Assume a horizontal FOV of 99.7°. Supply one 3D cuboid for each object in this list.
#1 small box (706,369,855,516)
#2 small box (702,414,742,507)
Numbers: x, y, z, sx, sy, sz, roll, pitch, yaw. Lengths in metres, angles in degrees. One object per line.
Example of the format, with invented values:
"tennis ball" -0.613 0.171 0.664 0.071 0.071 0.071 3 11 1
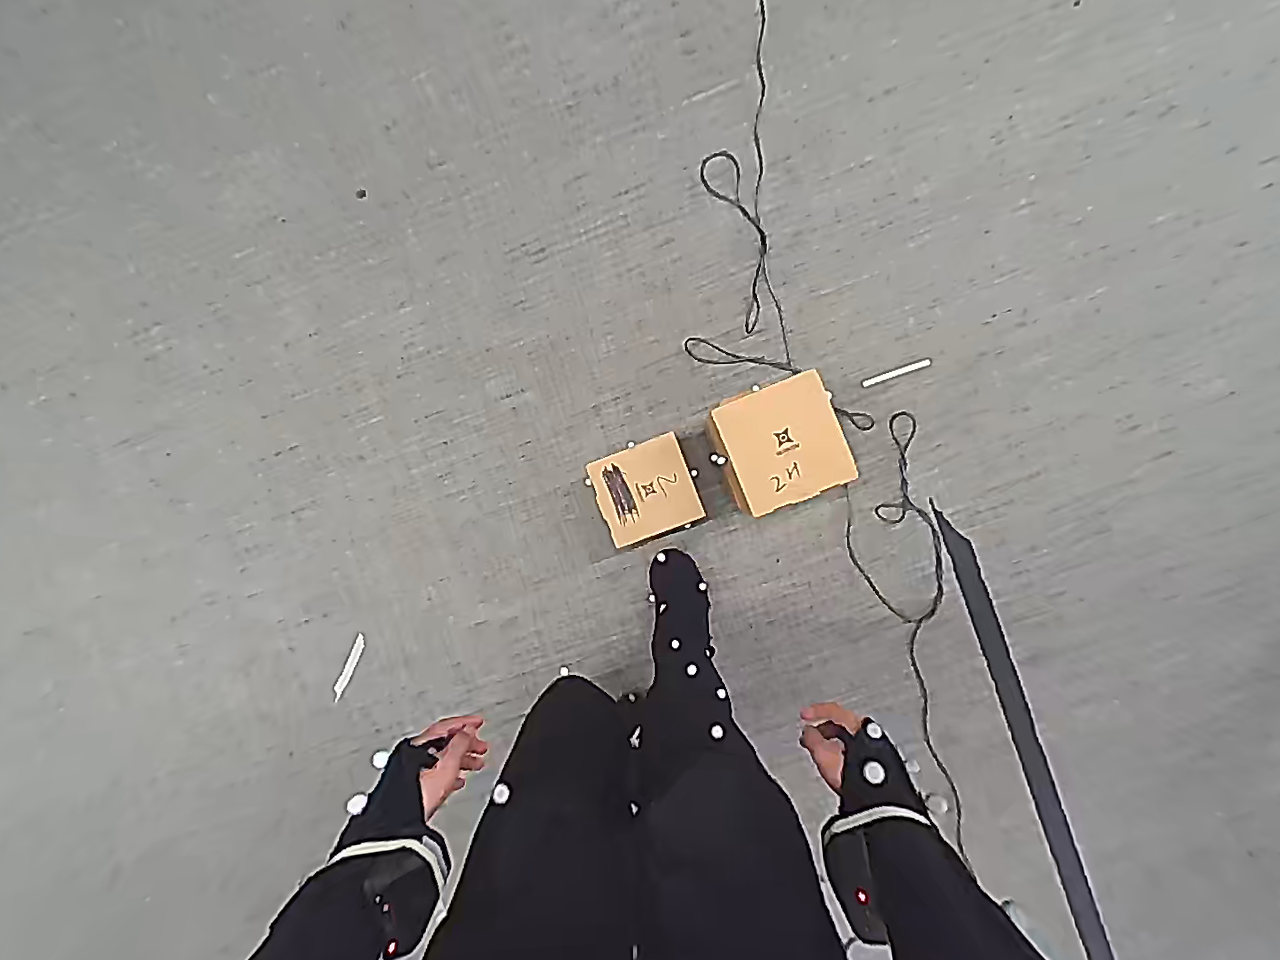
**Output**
"small box" 0.212 -0.055 0.869 0.168 0.176 0.179 -22 90 5
"small box" 0.223 -0.059 1.033 0.168 0.176 0.179 -20 91 5
